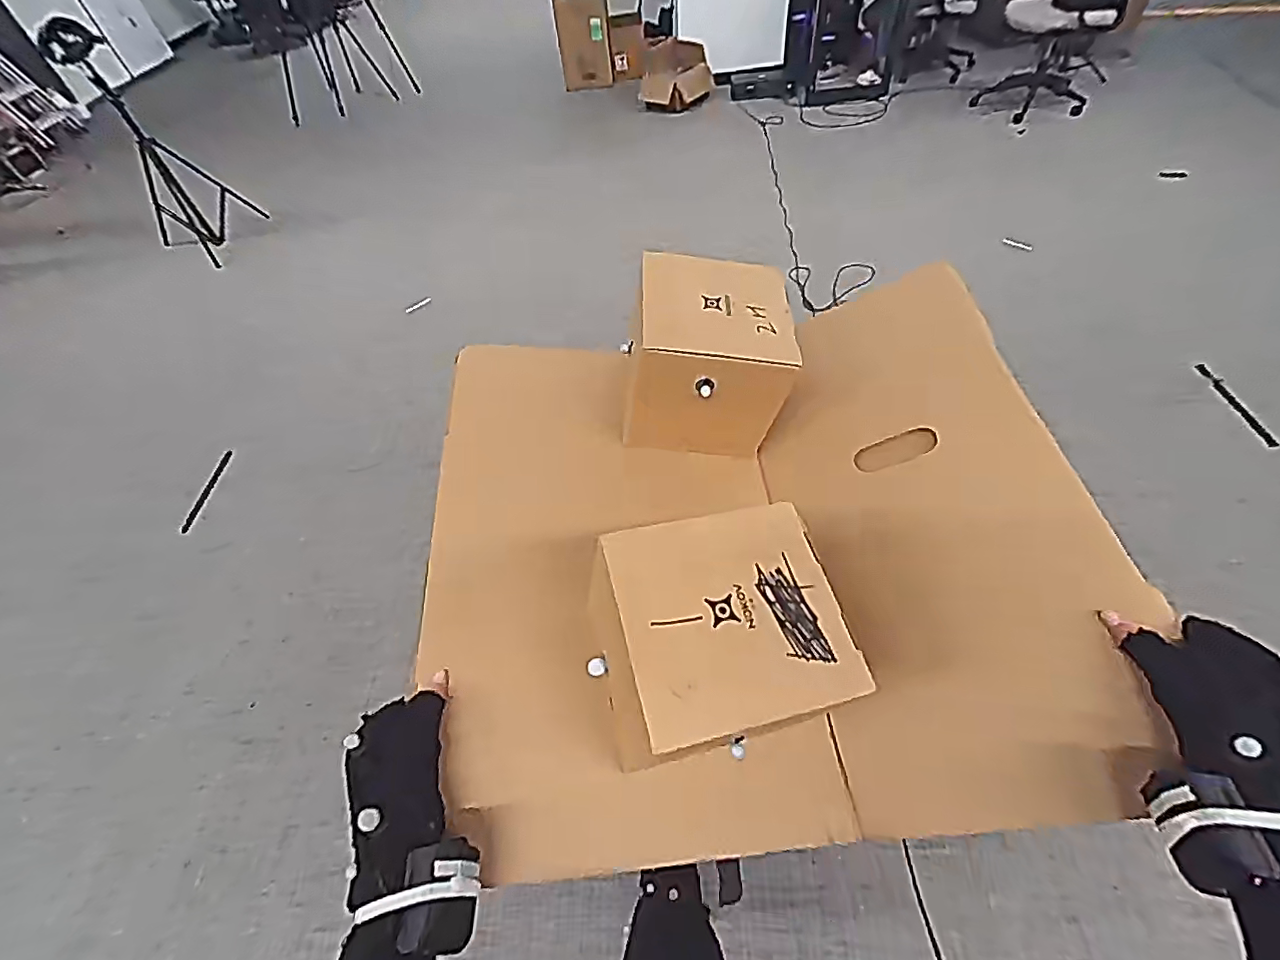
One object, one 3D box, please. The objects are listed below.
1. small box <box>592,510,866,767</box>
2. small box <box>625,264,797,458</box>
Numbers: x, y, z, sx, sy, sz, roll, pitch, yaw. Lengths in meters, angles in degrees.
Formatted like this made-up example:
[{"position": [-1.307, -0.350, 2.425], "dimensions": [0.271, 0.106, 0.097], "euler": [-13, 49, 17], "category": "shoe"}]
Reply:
[{"position": [0.060, 0.148, 0.493], "dimensions": [0.179, 0.176, 0.168], "euler": [-9, 59, -14], "category": "small box"}, {"position": [0.076, -0.143, 0.686], "dimensions": [0.179, 0.176, 0.168], "euler": [6, 57, -7], "category": "small box"}]
